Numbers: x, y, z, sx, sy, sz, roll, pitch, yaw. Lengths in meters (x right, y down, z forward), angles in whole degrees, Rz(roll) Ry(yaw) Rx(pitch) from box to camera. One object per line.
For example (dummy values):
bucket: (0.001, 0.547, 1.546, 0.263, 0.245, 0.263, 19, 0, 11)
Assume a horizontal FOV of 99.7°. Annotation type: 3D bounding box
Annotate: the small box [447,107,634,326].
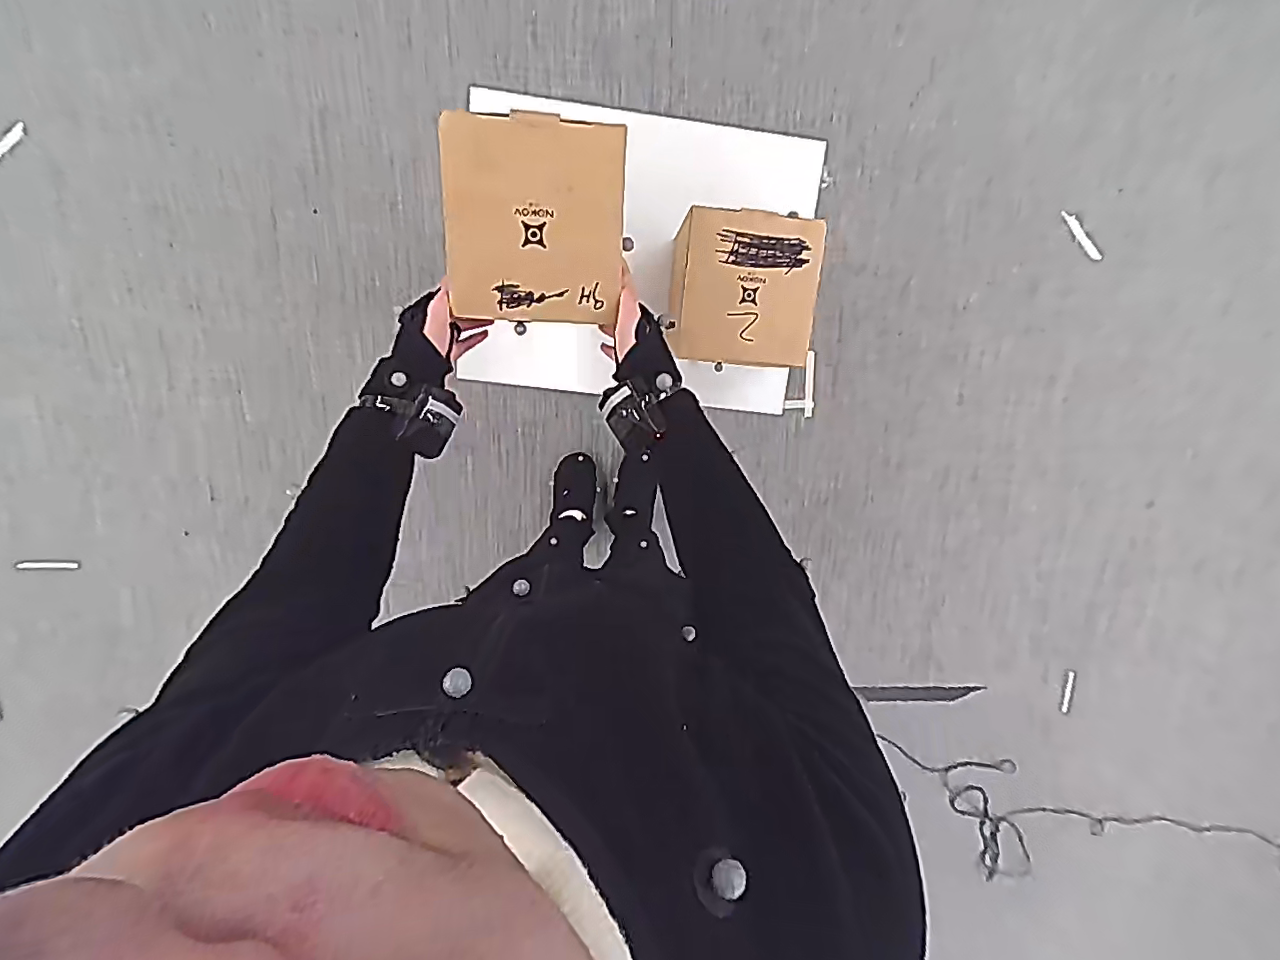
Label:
small box: (-0.099, -0.261, 0.573, 0.168, 0.176, 0.179, 2, 108, -5)
